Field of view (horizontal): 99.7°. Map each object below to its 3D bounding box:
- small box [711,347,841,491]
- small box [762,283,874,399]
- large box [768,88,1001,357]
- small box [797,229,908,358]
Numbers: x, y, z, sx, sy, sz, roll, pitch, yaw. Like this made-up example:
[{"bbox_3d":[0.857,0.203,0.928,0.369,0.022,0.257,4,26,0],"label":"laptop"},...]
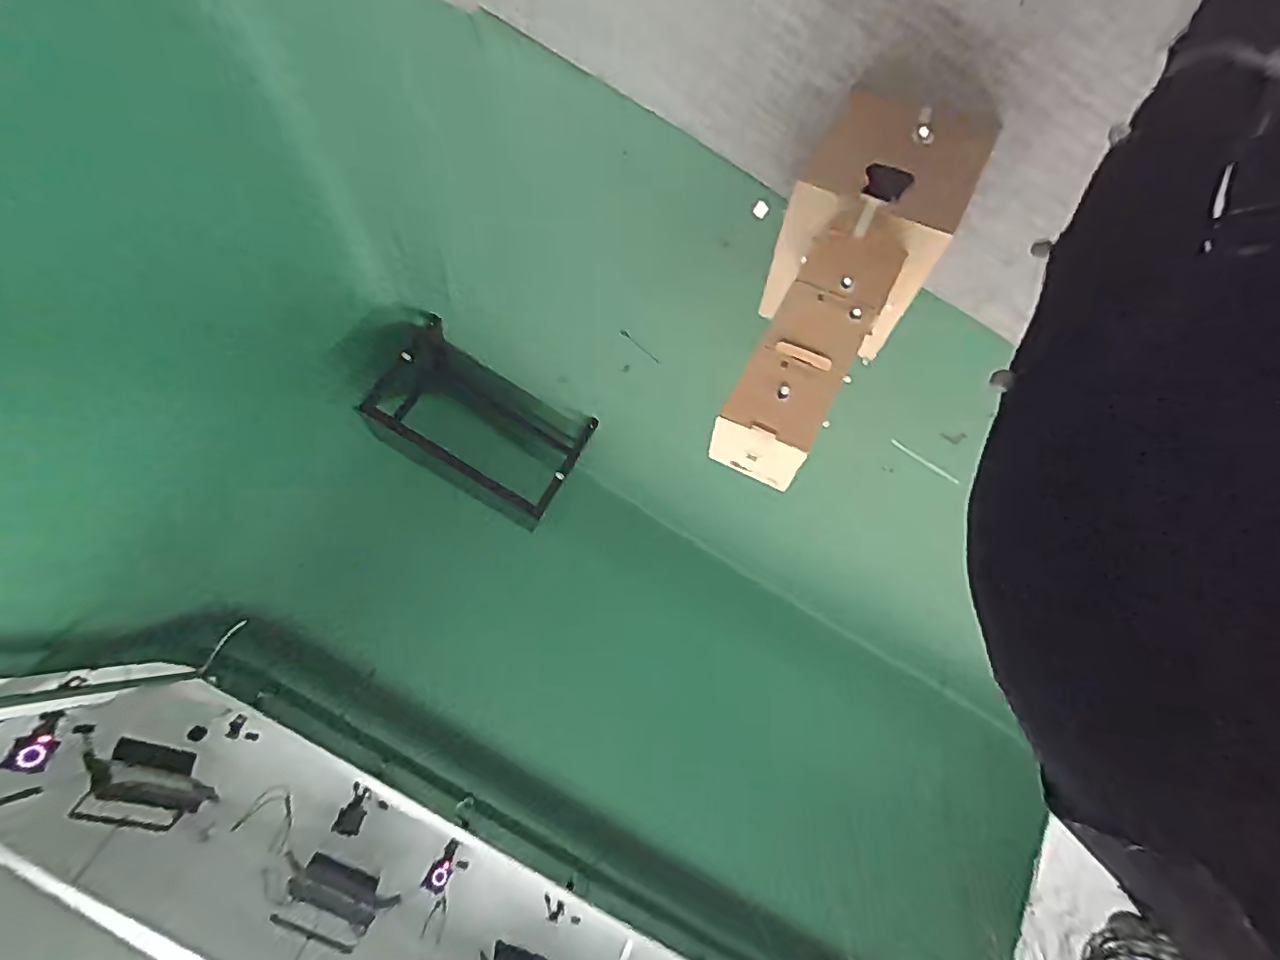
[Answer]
[{"bbox_3d":[0.251,-0.113,1.003,0.168,0.176,0.179,27,160,12],"label":"small box"},{"bbox_3d":[0.332,-0.247,1.053,0.168,0.176,0.179,26,161,12],"label":"small box"},{"bbox_3d":[0.523,-0.565,1.228,0.320,0.320,0.408,28,162,12],"label":"large box"},{"bbox_3d":[0.415,-0.377,1.109,0.179,0.176,0.168,27,160,11],"label":"small box"}]
